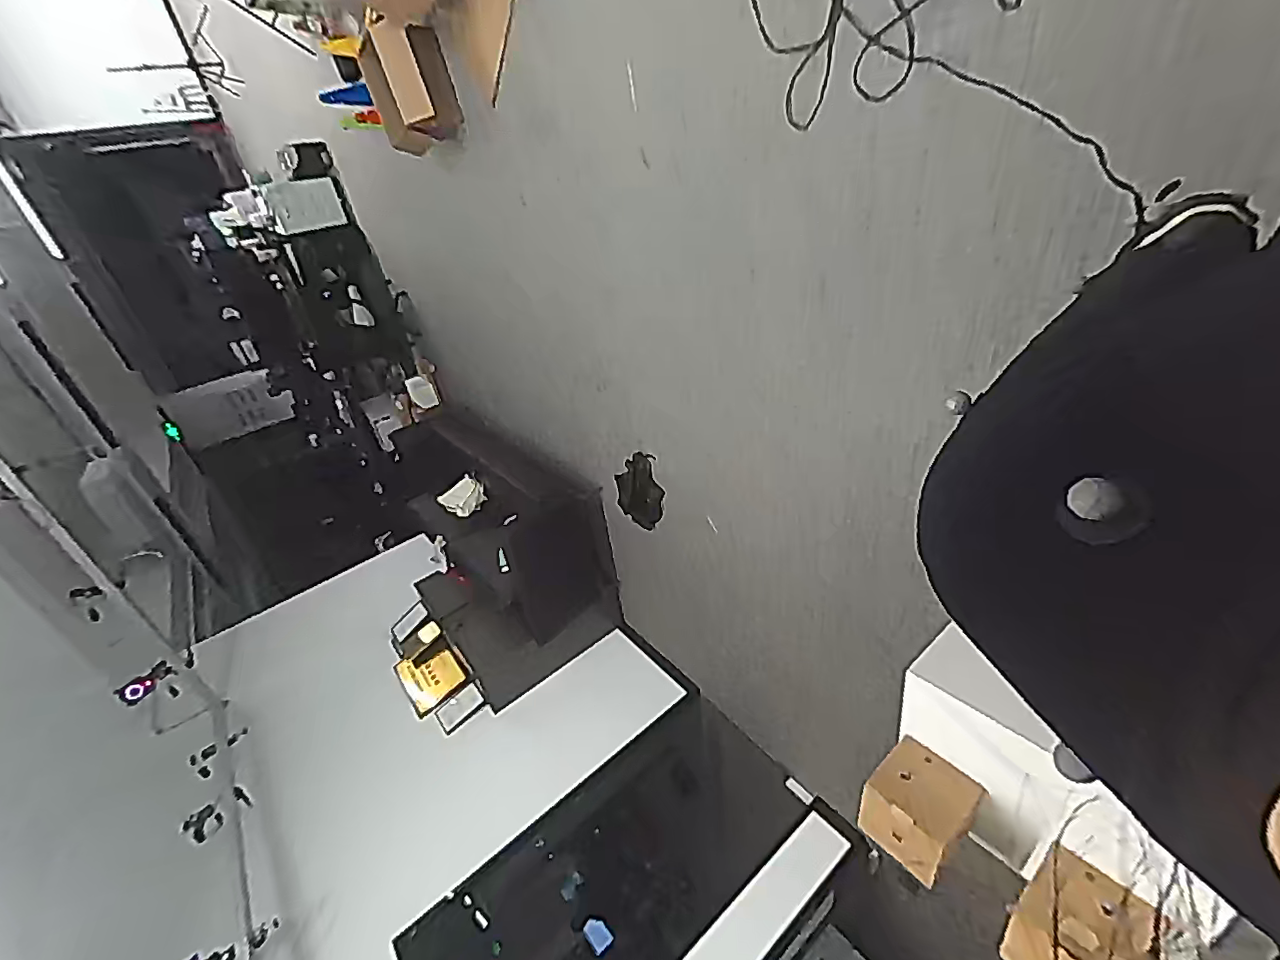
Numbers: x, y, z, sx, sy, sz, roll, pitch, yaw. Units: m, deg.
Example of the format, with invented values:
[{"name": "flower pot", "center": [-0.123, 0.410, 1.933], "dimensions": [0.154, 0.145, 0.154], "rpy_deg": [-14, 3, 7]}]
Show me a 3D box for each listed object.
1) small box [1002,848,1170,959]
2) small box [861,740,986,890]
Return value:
[{"name": "small box", "center": [0.768, 0.799, 0.937], "dimensions": [0.168, 0.176, 0.179], "rpy_deg": [27, 135, 49]}, {"name": "small box", "center": [0.593, 0.694, 1.136], "dimensions": [0.168, 0.176, 0.179], "rpy_deg": [30, 139, 46]}]
